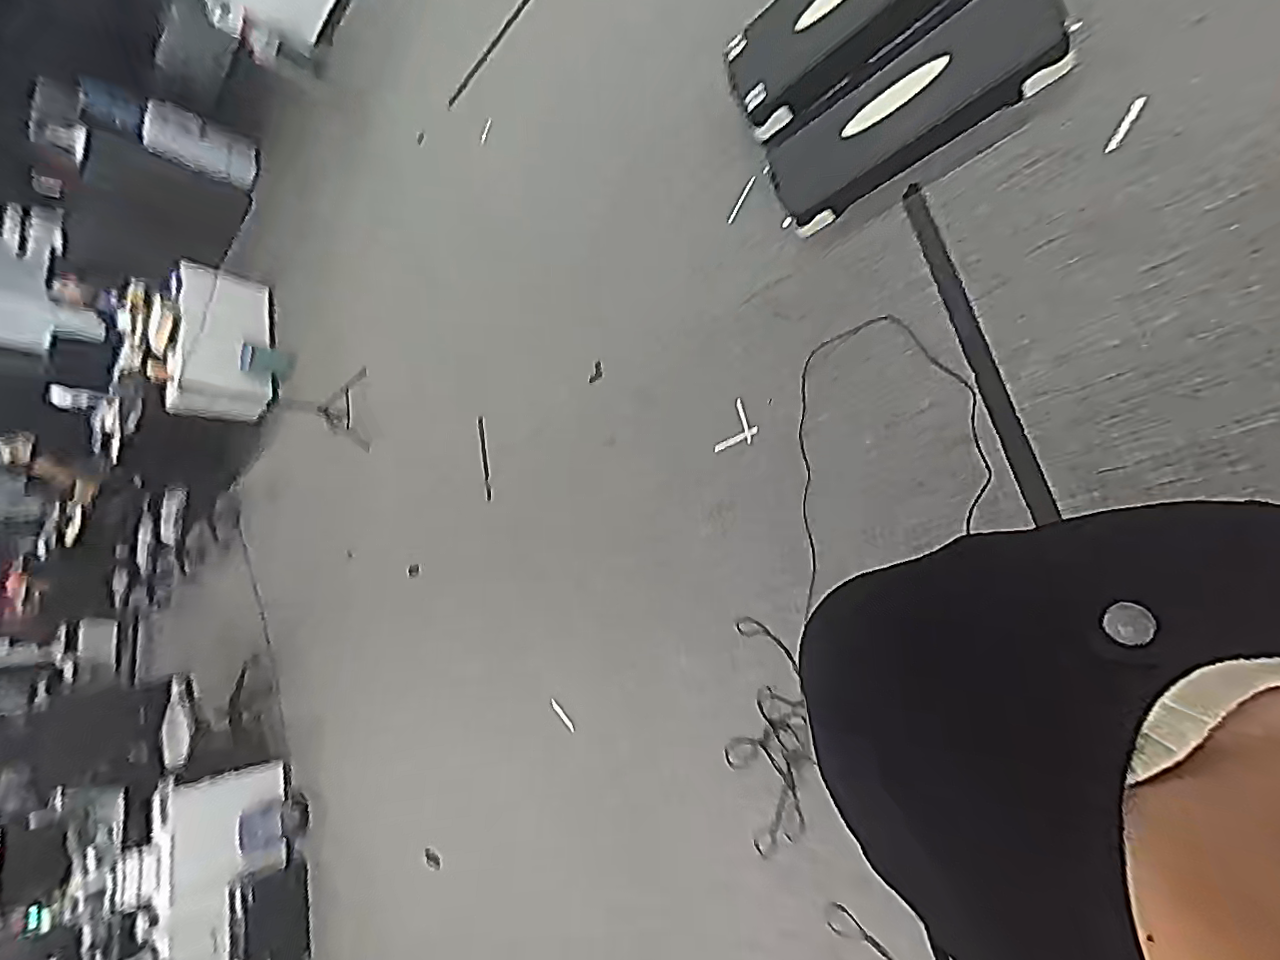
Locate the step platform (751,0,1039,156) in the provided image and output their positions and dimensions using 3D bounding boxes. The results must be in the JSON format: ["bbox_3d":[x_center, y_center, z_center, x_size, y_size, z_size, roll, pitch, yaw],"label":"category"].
[{"bbox_3d":[0.624,-1.179,1.392,0.684,0.204,0.286,-18,73,36],"label":"step platform"}]
